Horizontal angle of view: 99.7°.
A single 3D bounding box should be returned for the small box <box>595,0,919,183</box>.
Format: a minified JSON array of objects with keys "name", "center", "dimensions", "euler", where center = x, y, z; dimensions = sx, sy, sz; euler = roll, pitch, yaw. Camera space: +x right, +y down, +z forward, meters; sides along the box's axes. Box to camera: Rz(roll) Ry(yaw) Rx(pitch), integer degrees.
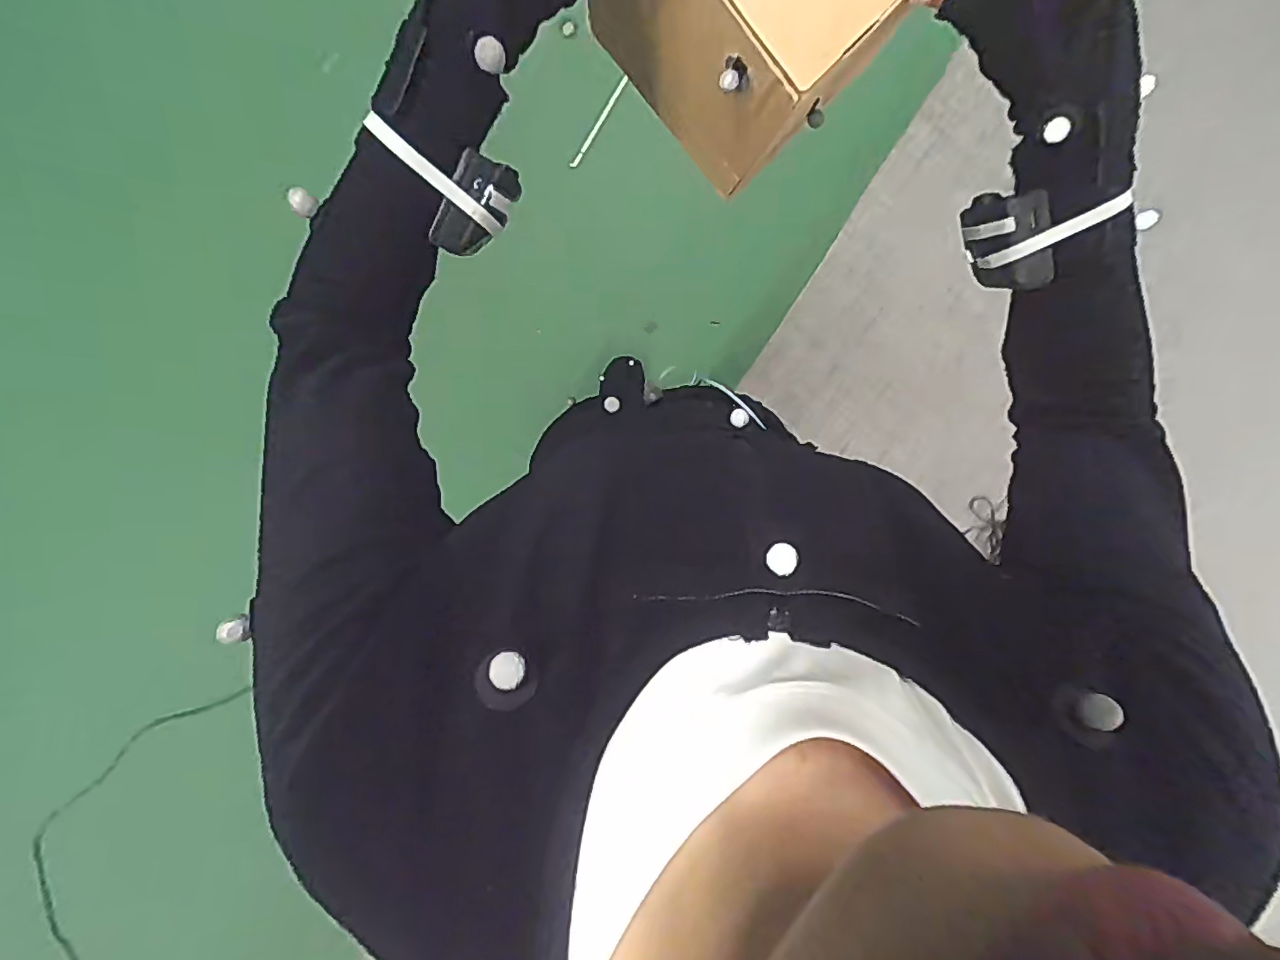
[{"name":"small box","center":[0.082,-0.350,0.370],"dimensions":[0.168,0.176,0.179],"euler":[-43,102,2]}]
